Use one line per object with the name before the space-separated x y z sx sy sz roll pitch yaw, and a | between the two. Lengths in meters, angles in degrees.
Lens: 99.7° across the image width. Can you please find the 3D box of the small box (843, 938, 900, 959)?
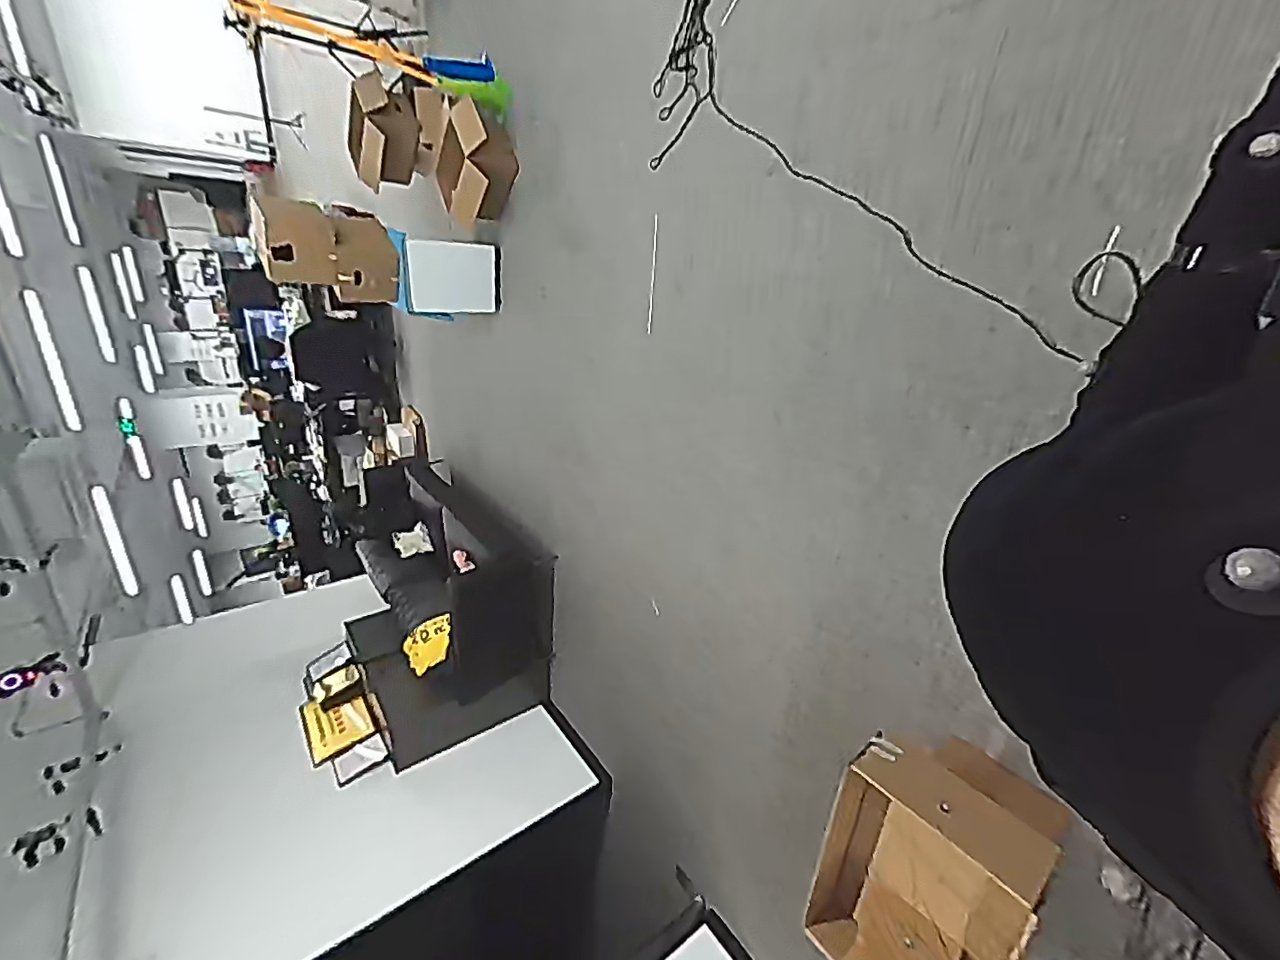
small box | 0.523 1.168 1.187 0.179 0.176 0.168 21 117 48
